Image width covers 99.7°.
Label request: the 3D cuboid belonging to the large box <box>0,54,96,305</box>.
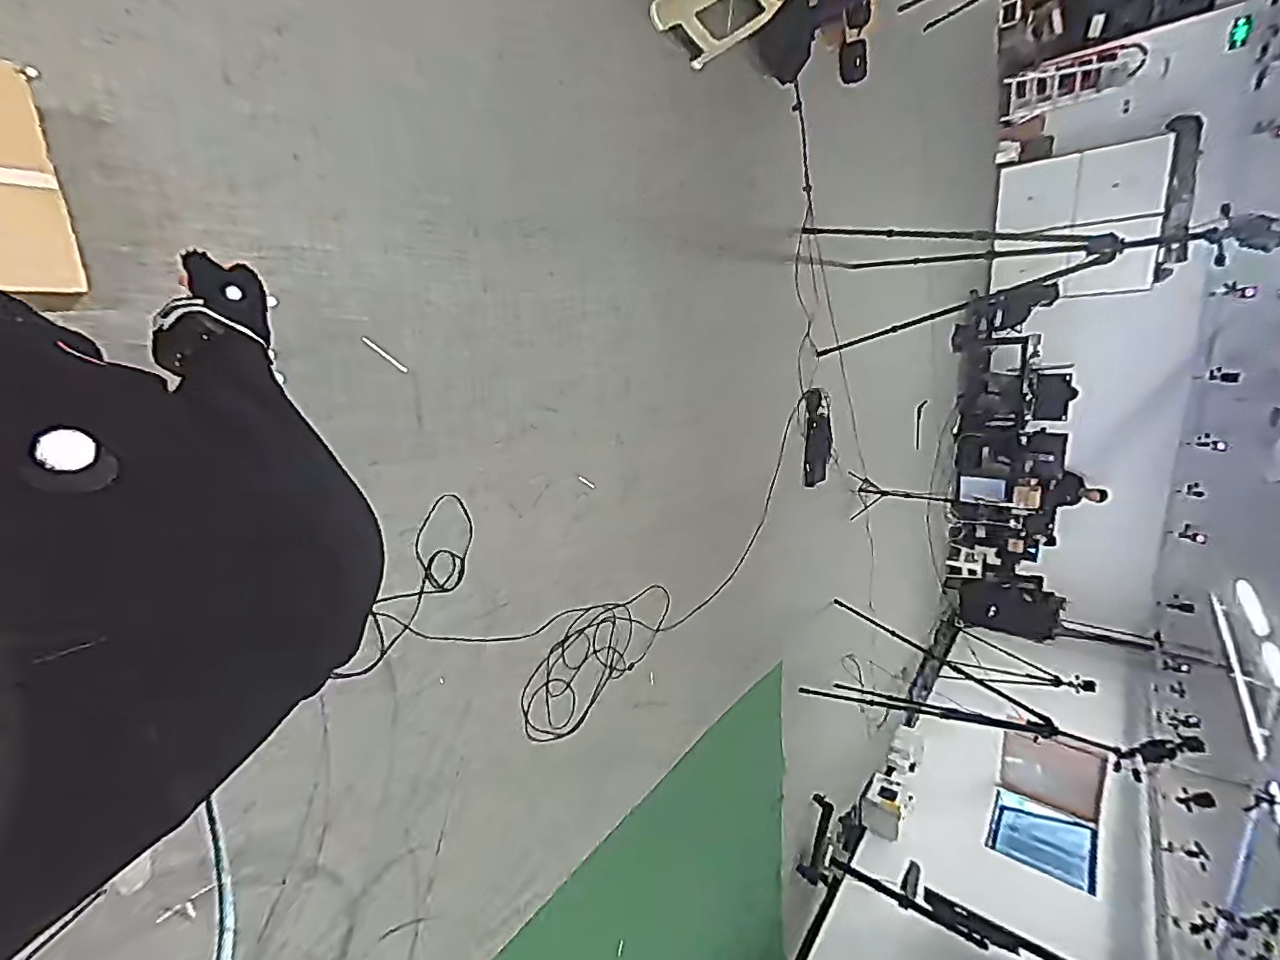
[{"bbox_3d":[-1.106,-0.423,0.765,0.408,0.320,0.320,-19,111,-47],"label":"large box"}]
